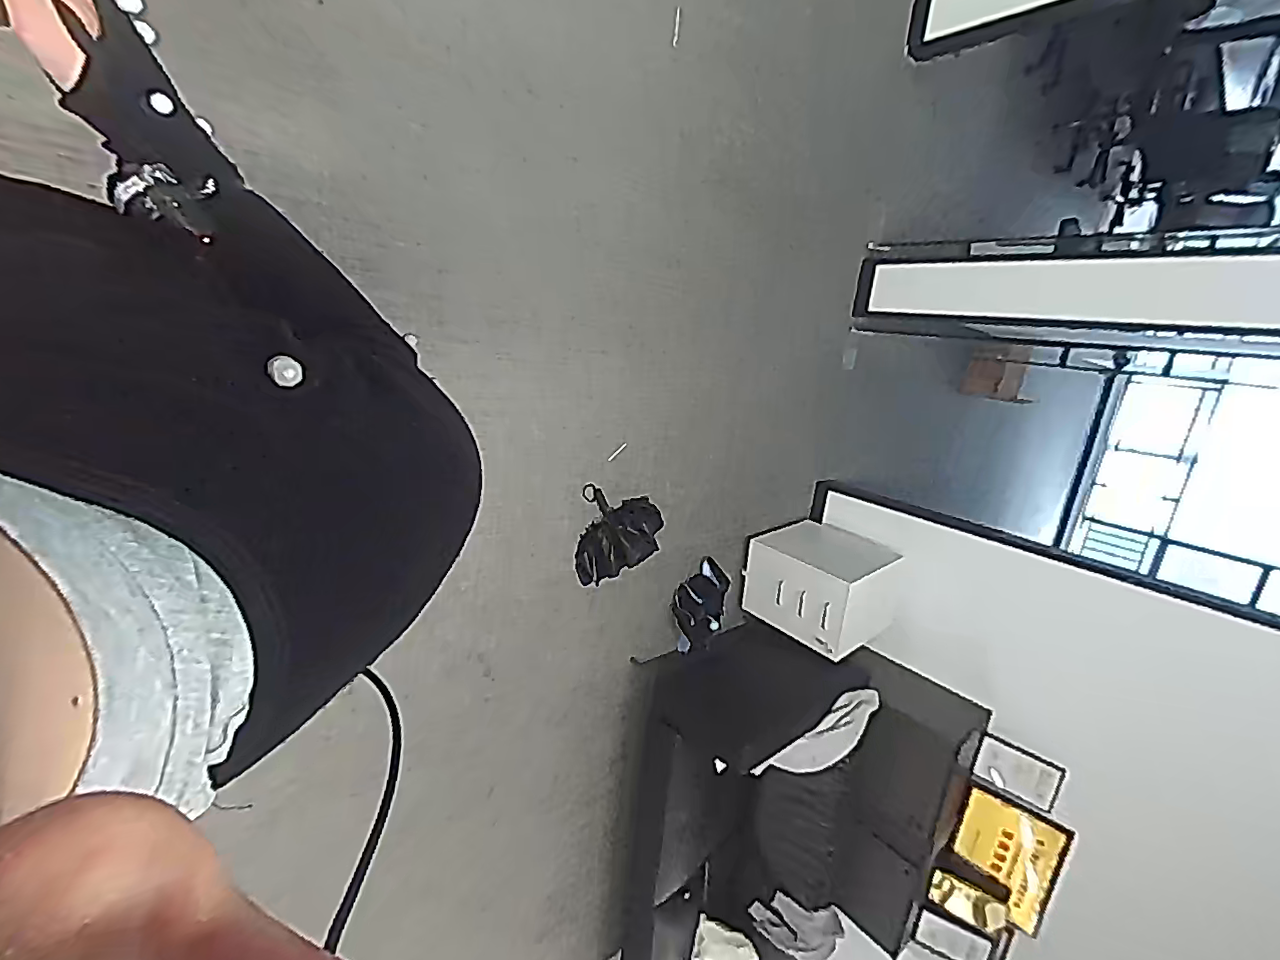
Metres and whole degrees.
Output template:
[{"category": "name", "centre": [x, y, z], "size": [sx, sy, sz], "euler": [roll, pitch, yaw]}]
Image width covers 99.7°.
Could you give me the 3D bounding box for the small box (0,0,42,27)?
[{"category": "small box", "centre": [-0.499, -0.363, 0.288], "size": [0.168, 0.176, 0.179], "euler": [-21, 125, -20]}]

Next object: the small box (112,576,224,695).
[{"category": "small box", "centre": [-1.076, 0.348, 1.242], "size": [0.168, 0.176, 0.179], "euler": [-13, 113, -39]}]
